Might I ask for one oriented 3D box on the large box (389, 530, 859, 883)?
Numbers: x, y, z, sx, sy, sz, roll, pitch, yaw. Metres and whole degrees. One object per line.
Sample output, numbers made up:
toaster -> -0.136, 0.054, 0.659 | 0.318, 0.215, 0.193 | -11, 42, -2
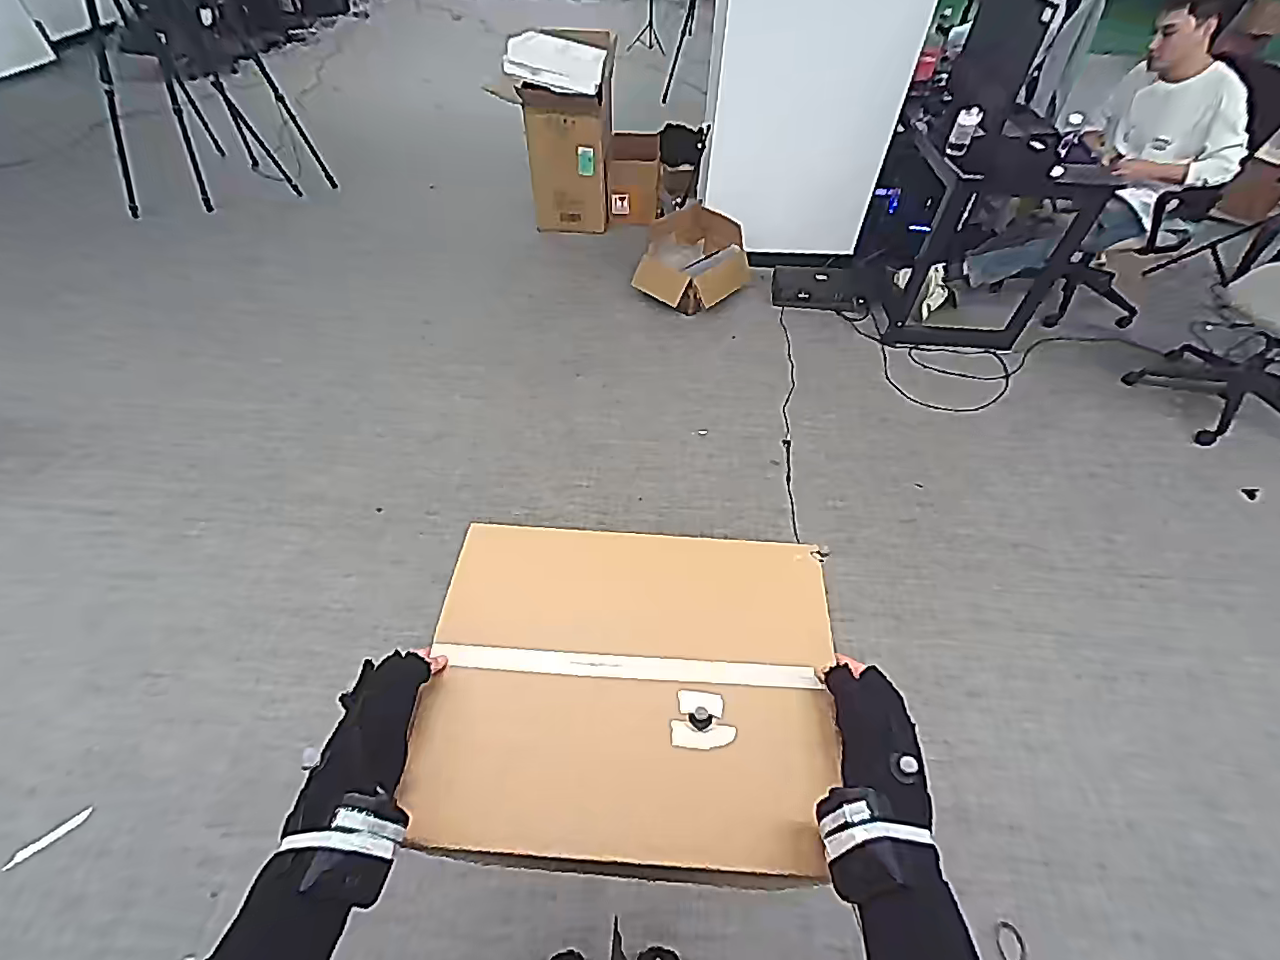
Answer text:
large box -> -0.012, 0.281, 0.656 | 0.408, 0.320, 0.320 | 4, 52, 1
